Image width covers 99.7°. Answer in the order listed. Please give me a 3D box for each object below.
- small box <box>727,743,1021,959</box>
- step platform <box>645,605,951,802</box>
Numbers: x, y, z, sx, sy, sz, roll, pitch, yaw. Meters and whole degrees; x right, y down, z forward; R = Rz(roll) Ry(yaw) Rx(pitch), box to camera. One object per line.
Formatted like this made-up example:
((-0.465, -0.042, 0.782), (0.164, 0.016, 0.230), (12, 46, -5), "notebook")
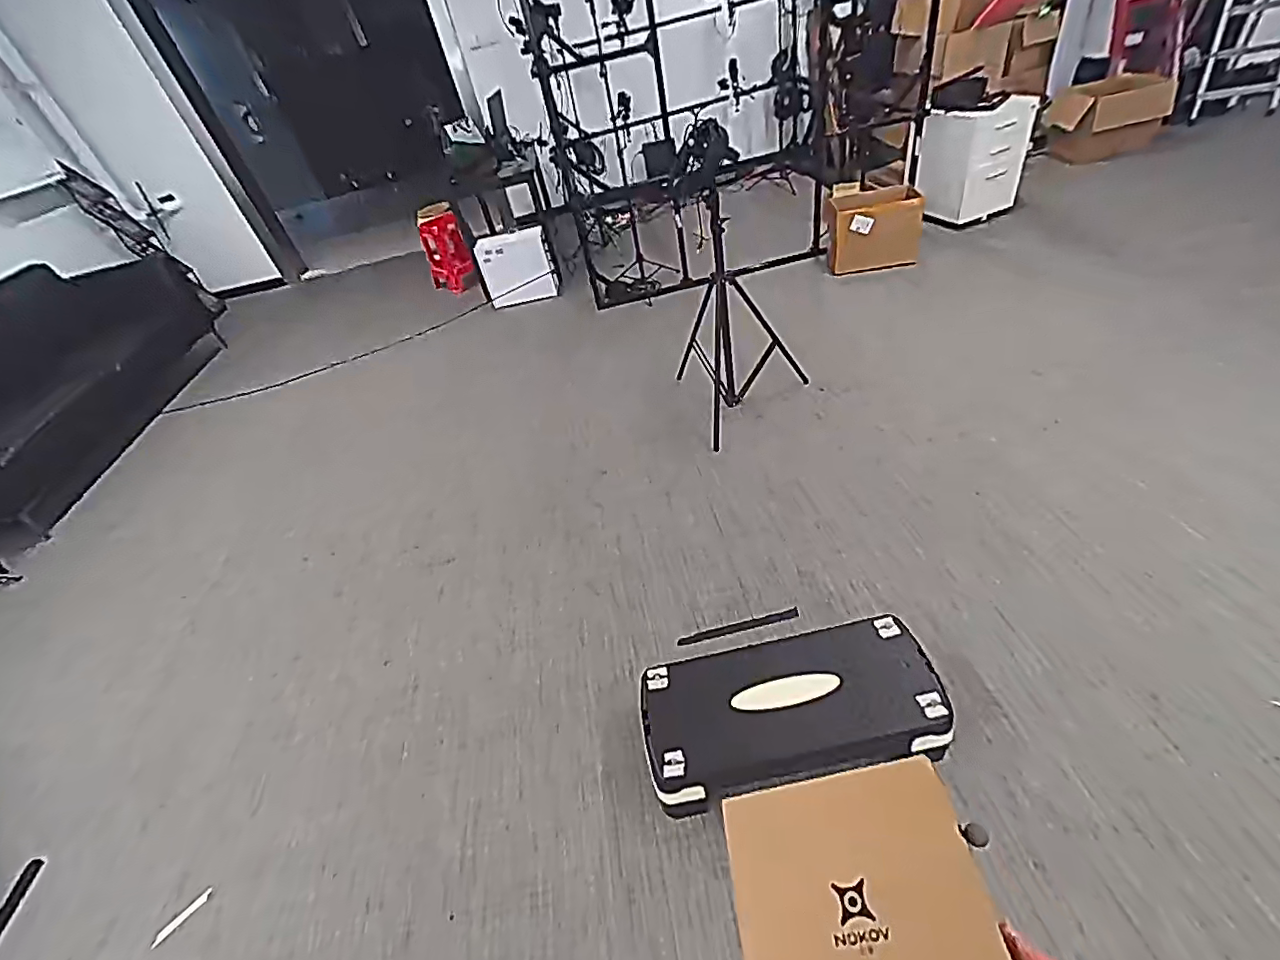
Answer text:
((0.183, 0.333, 0.410), (0.168, 0.176, 0.179), (-23, 40, 17), "small box")
((0.354, 0.525, 1.295), (0.684, 0.204, 0.286), (-14, 40, 1), "step platform")
